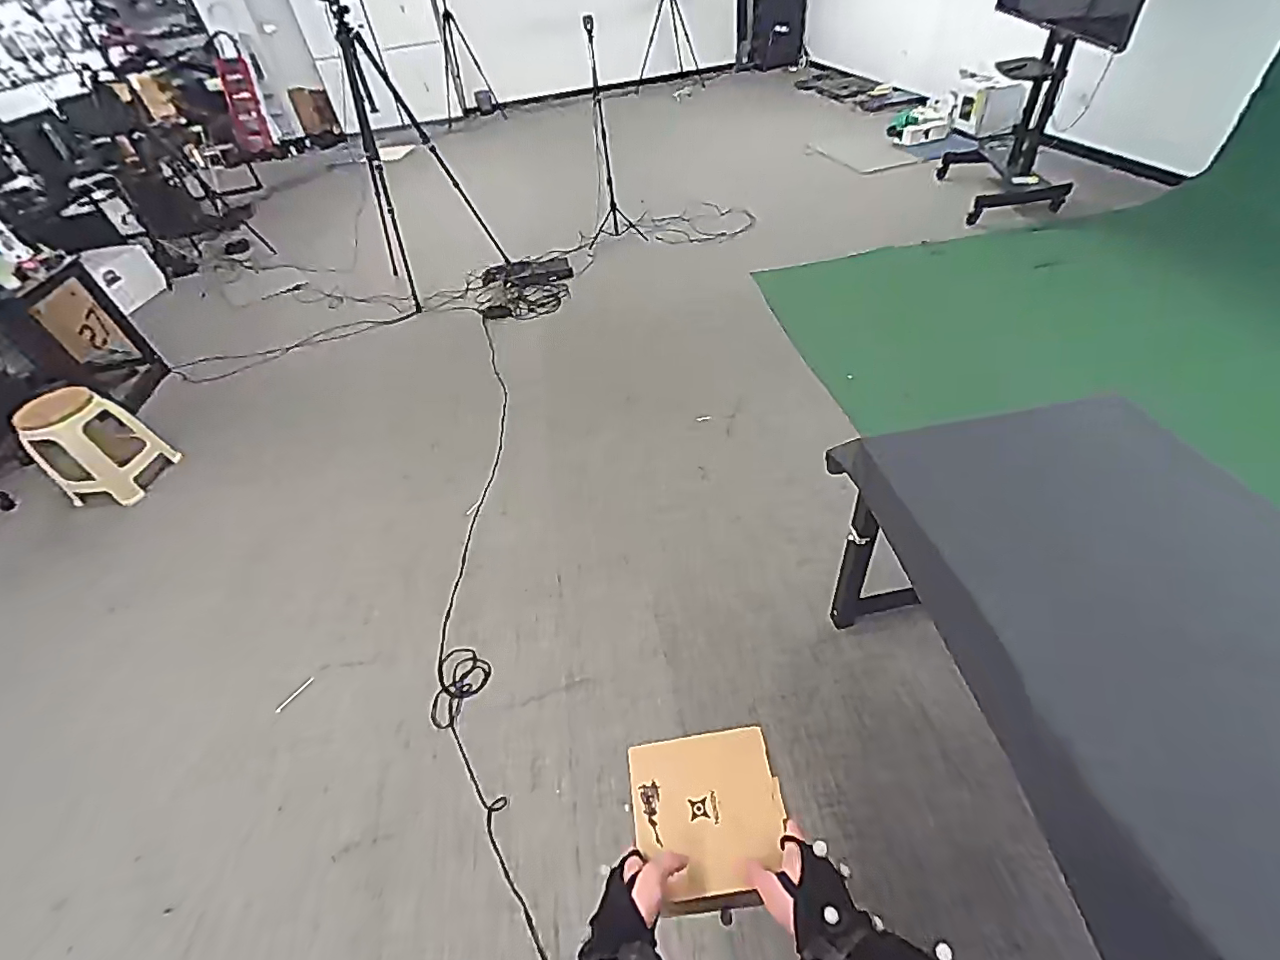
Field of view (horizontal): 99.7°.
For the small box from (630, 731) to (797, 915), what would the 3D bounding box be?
[{"bbox_3d":[0.088,0.443,0.697,0.179,0.176,0.168,-9,47,2],"label":"small box"}]
